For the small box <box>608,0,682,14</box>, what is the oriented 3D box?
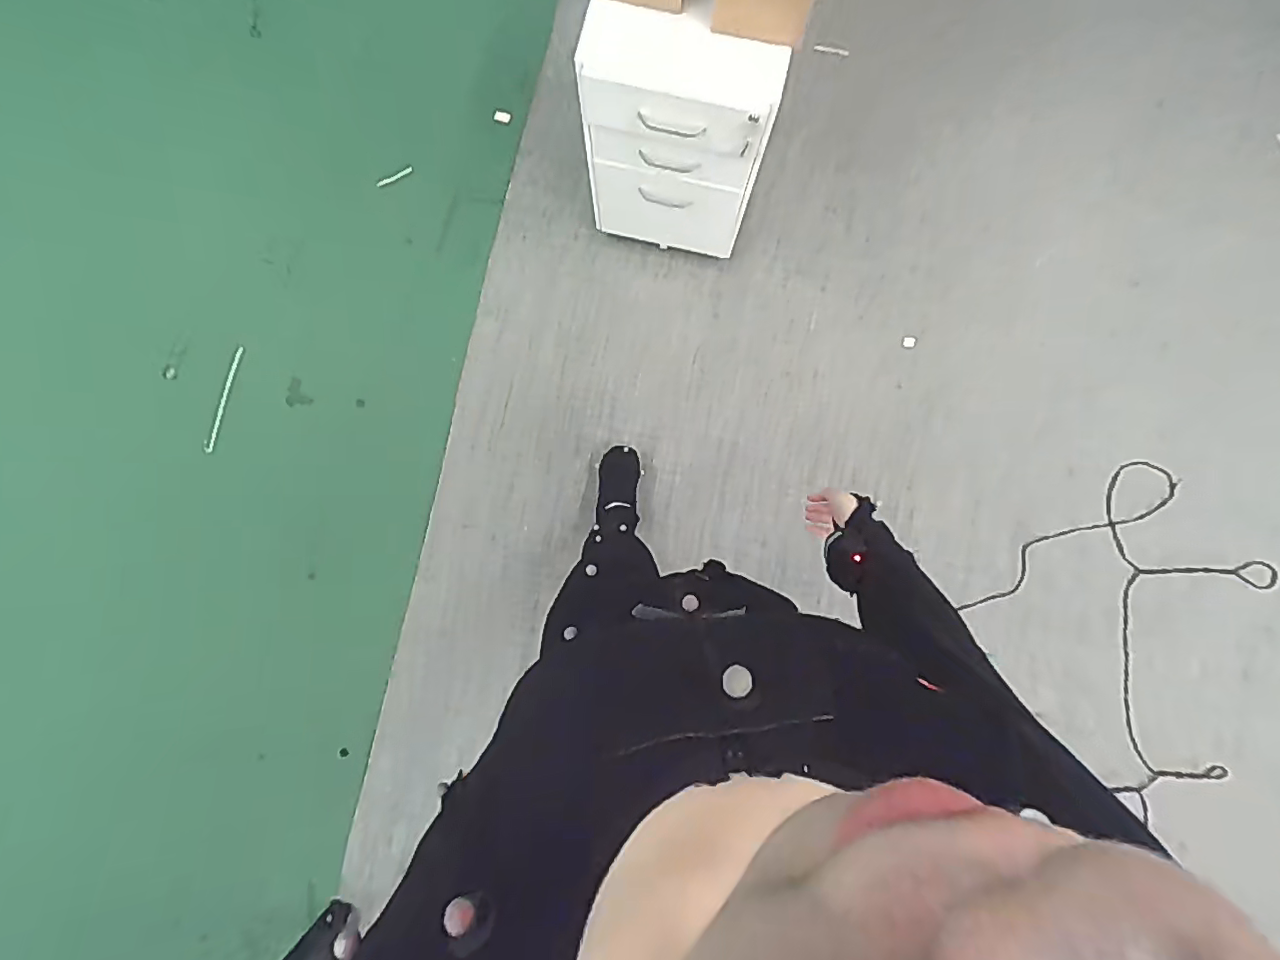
[{"bbox_3d":[0.006,-0.981,0.954,0.179,0.176,0.168,12,84,0],"label":"small box"}]
